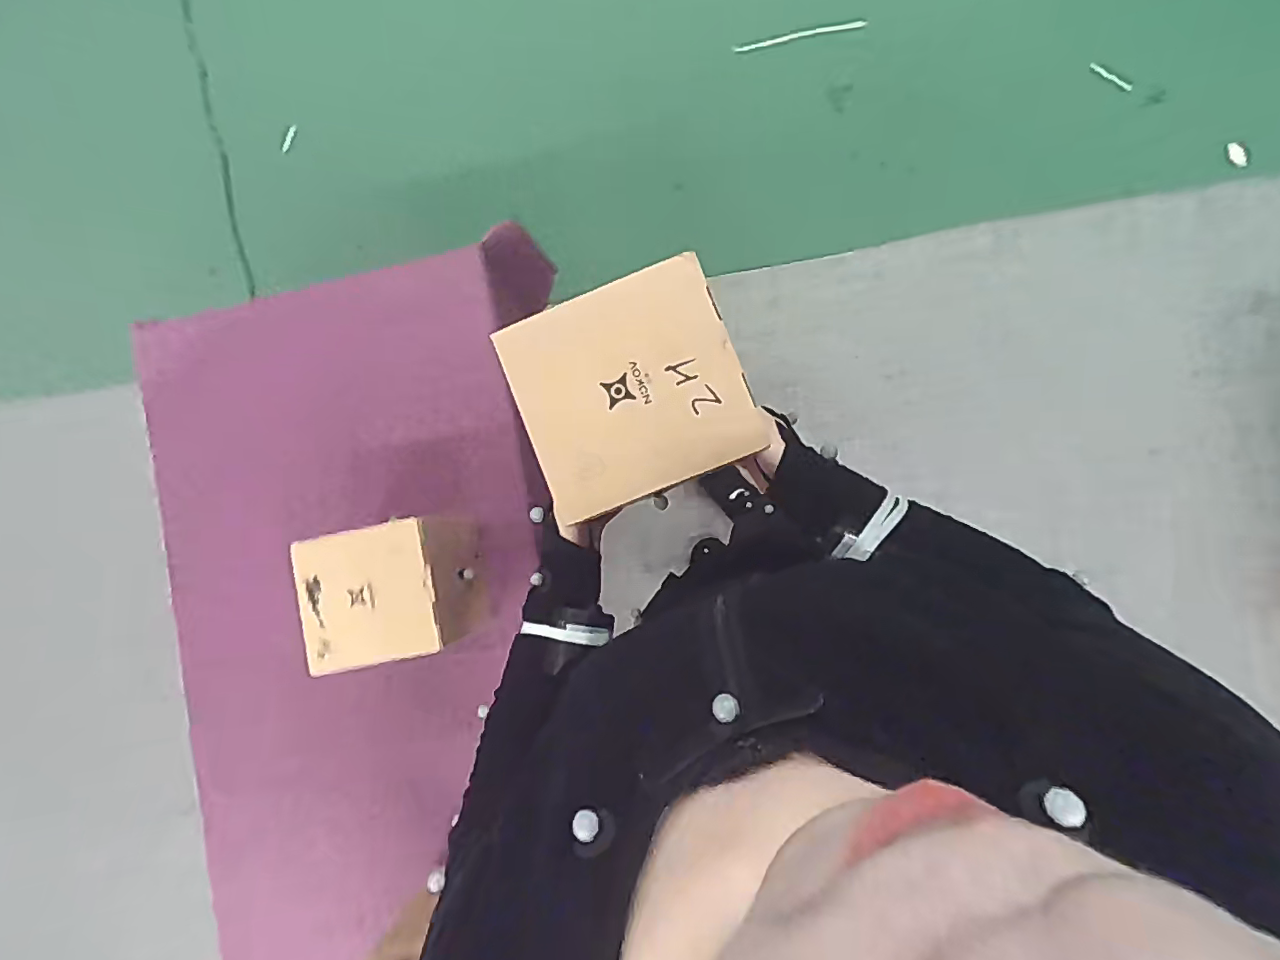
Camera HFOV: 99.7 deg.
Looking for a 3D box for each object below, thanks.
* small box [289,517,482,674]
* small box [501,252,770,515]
[{"bbox_3d":[-0.331,0.145,0.740,0.179,0.176,0.168,-12,86,4],"label":"small box"},{"bbox_3d":[0.000,-0.072,0.501,0.179,0.176,0.168,-20,88,3],"label":"small box"}]
